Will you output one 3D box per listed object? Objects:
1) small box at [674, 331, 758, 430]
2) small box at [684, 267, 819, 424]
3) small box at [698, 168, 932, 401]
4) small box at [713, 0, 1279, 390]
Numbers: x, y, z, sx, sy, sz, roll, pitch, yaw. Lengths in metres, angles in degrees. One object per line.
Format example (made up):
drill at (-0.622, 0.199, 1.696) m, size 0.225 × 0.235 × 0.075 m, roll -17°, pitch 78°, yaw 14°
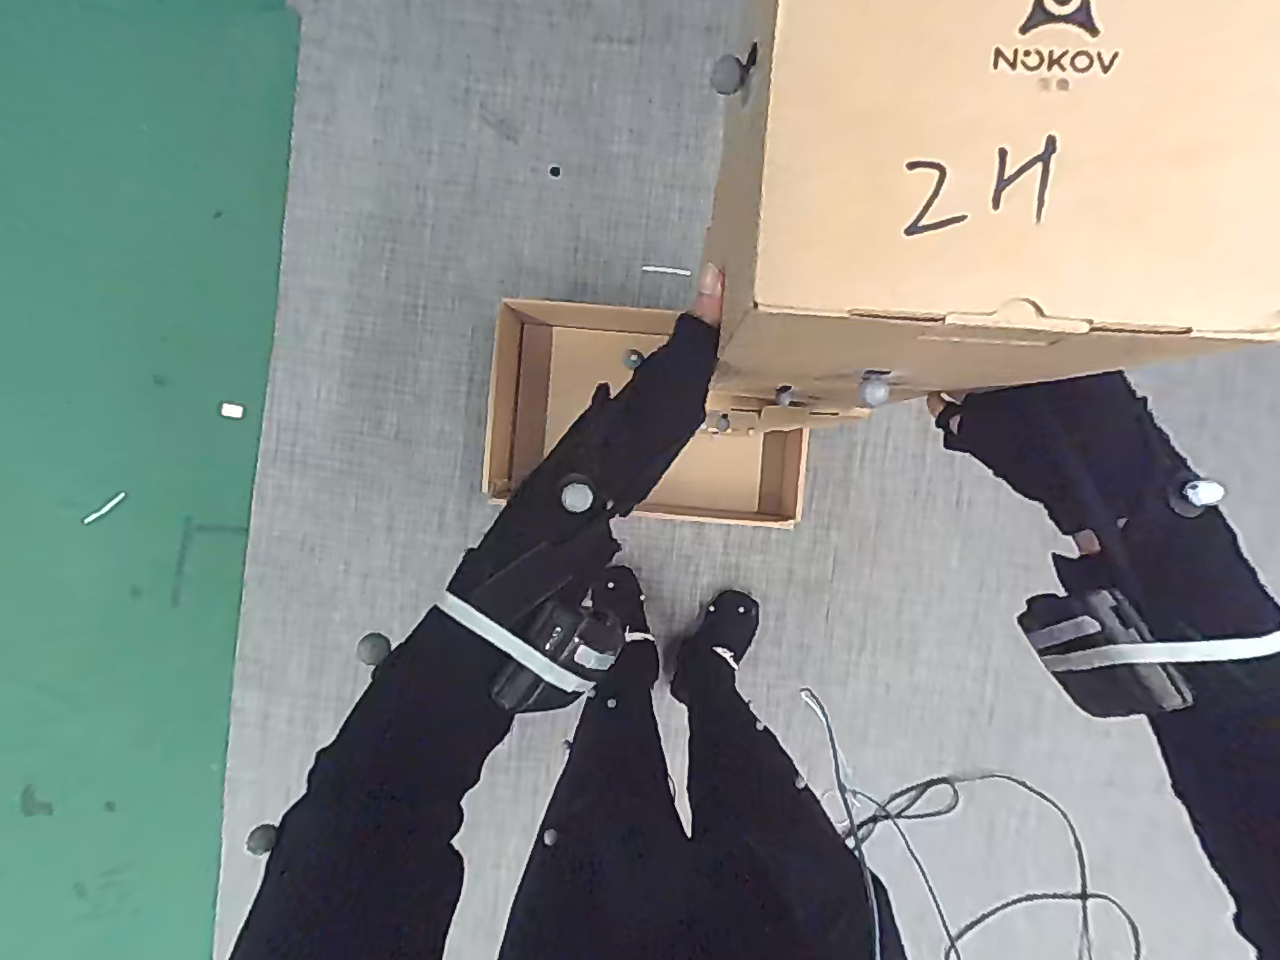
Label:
small box at (0.153, -0.192, 1.081) m, size 0.168 × 0.176 × 0.179 m, roll 1°, pitch 91°, yaw 4°
small box at (0.153, -0.174, 0.752) m, size 0.168 × 0.176 × 0.179 m, roll 6°, pitch 92°, yaw 1°
small box at (0.137, -0.159, 0.401) m, size 0.168 × 0.176 × 0.179 m, roll 6°, pitch 95°, yaw 1°
small box at (0.125, -0.140, 0.237) m, size 0.168 × 0.176 × 0.179 m, roll 4°, pitch 95°, yaw 2°
